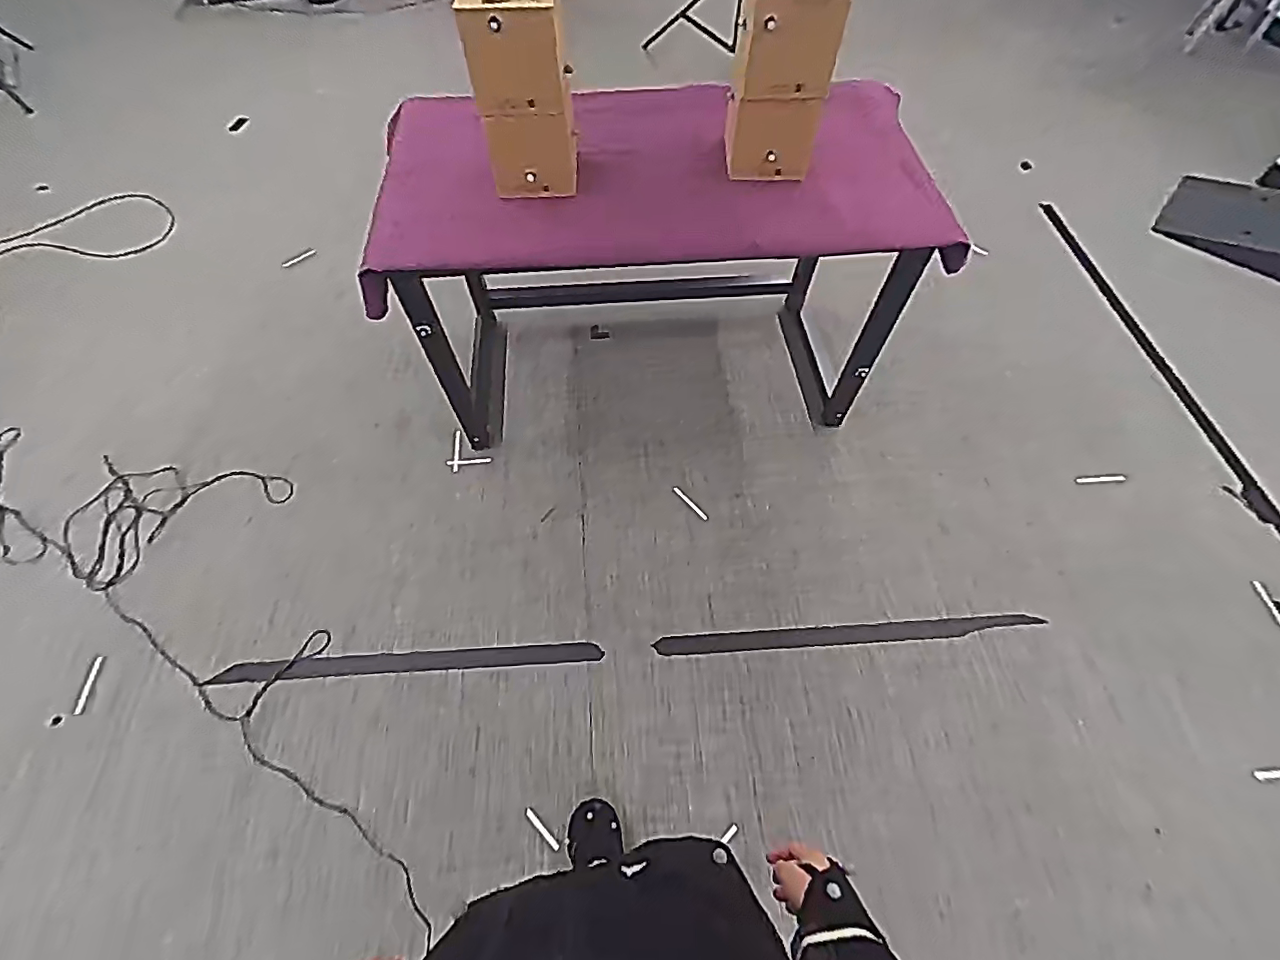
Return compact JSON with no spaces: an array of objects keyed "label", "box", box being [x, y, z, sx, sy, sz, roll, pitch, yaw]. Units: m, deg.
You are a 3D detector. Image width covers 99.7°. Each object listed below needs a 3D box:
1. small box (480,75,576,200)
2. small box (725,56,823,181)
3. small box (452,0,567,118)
[{"label":"small box","box":[-0.226,-0.718,1.135,0.168,0.176,0.179,-3,61,-1]},{"label":"small box","box":[0.278,-0.776,1.164,0.168,0.176,0.179,0,61,2]},{"label":"small box","box":[-0.227,-0.799,0.992,0.168,0.176,0.179,-2,60,-1]}]
